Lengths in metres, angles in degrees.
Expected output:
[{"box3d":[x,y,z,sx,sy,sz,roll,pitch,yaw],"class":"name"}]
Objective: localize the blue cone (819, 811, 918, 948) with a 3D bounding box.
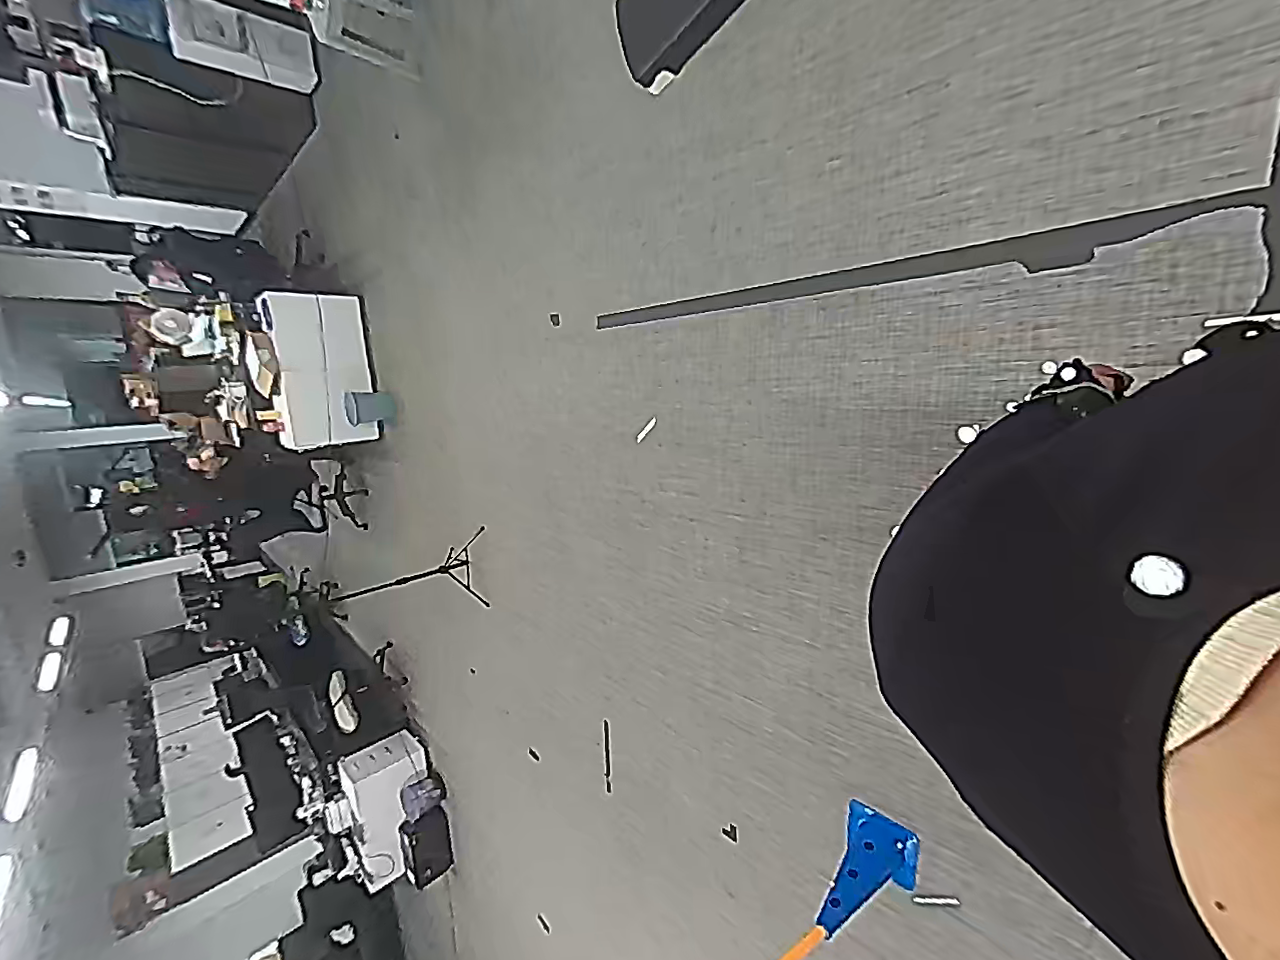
[{"box3d":[0.599,1.117,1.480,0.193,0.380,0.192,13,110,45],"class":"blue cone"}]
